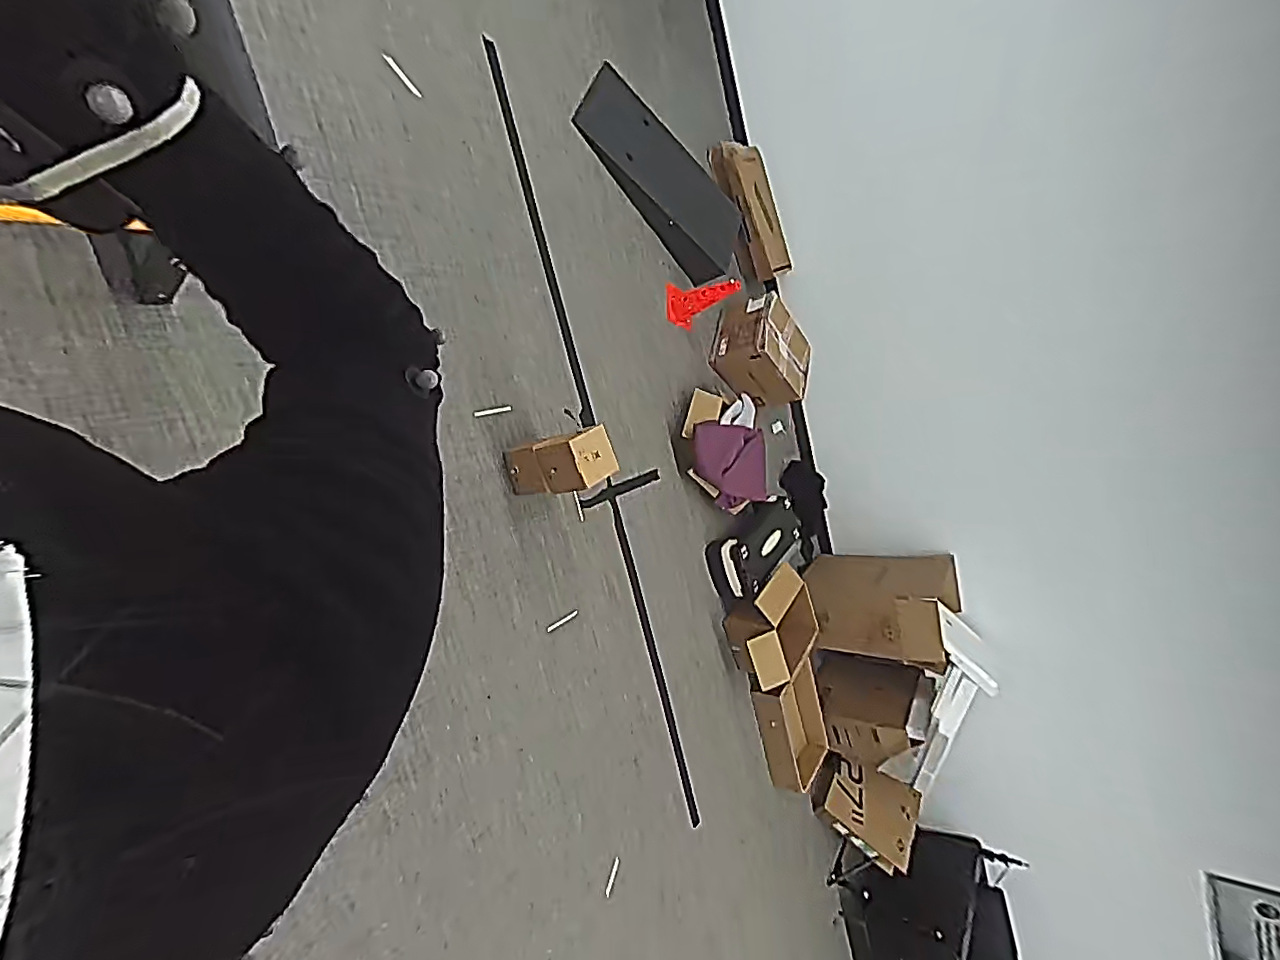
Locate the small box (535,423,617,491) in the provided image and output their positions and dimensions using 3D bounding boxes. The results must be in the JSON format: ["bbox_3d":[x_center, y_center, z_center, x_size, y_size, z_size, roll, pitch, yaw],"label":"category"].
[{"bbox_3d":[-0.212,-0.075,1.786,0.179,0.176,0.168,-35,109,-46],"label":"small box"}]

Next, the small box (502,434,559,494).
[{"bbox_3d":[-0.346,-0.058,1.883,0.179,0.176,0.168,-28,104,-47],"label":"small box"}]
